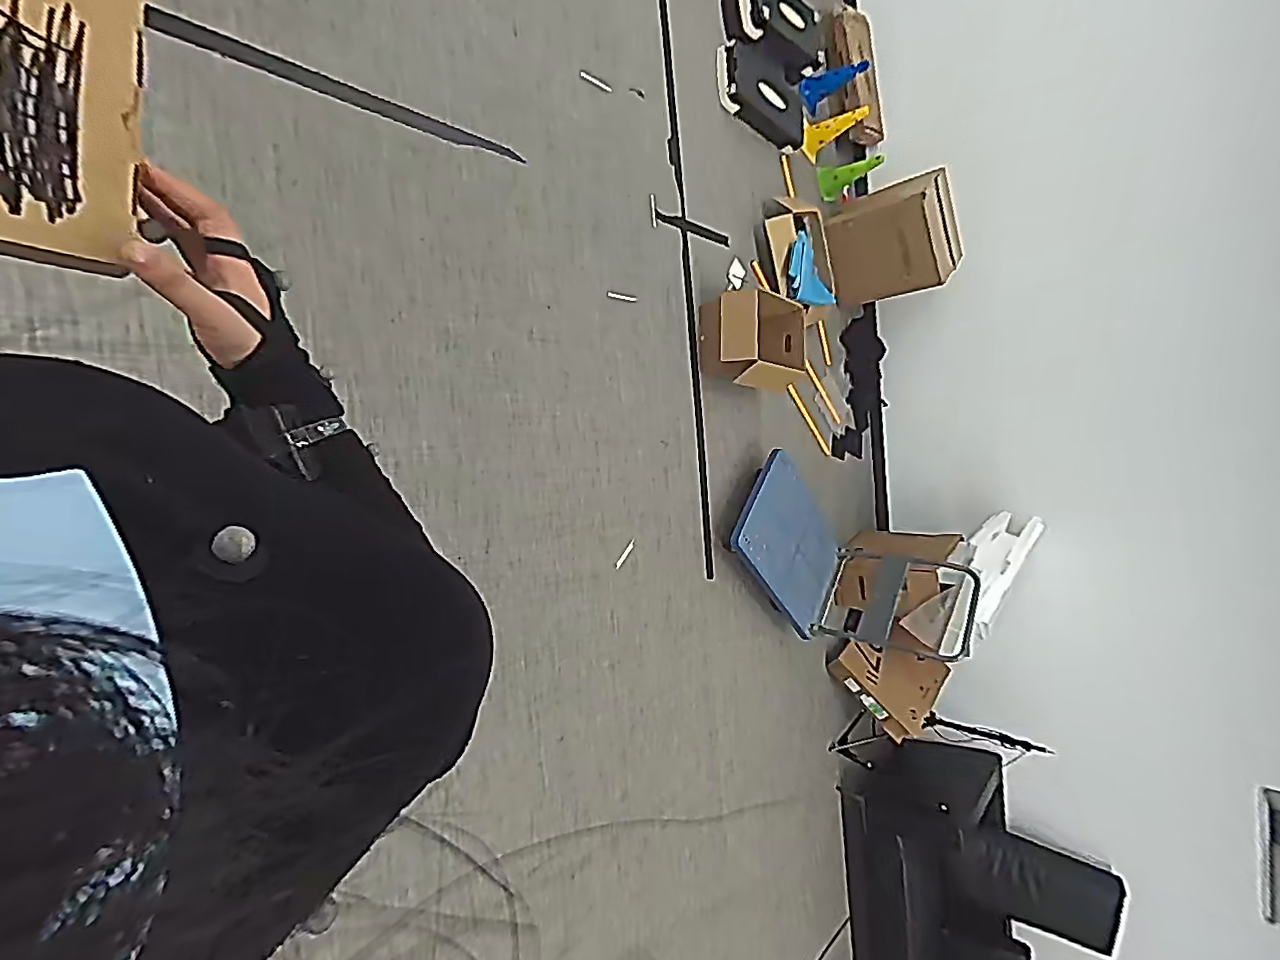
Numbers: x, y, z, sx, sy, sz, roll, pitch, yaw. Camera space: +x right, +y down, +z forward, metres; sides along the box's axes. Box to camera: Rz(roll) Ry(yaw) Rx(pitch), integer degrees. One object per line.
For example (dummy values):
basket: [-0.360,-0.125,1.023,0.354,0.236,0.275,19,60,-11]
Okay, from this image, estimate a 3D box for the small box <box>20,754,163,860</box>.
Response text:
small box: [-1.028,0.646,1.018,0.168,0.176,0.179,-10,97,-45]
